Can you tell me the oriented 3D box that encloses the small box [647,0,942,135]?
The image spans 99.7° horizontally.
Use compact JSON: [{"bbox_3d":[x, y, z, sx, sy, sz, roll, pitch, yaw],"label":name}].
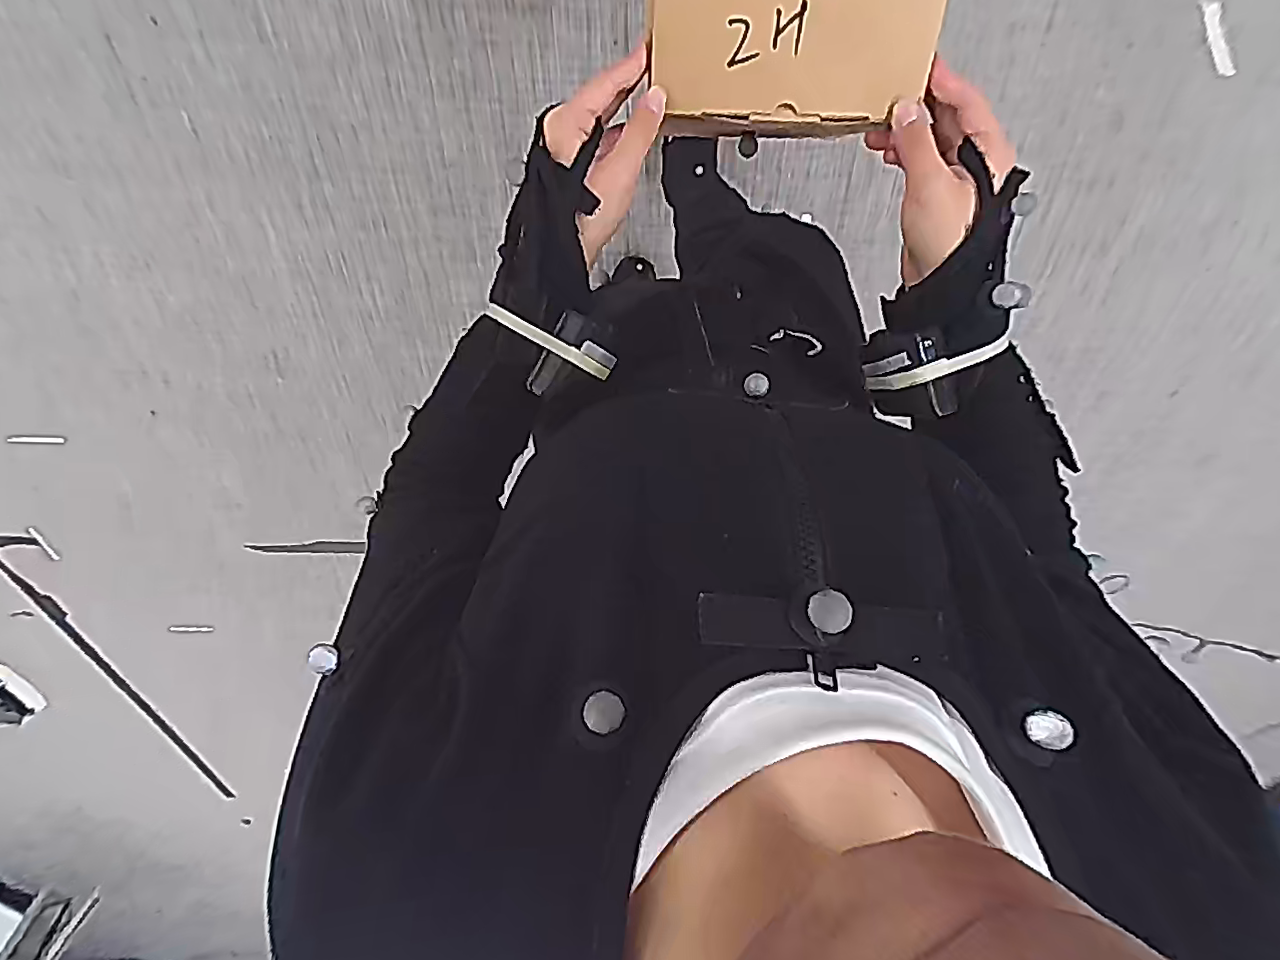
[{"bbox_3d":[0.091,-0.343,0.361,0.168,0.176,0.179,1,120,-1],"label":"small box"}]
